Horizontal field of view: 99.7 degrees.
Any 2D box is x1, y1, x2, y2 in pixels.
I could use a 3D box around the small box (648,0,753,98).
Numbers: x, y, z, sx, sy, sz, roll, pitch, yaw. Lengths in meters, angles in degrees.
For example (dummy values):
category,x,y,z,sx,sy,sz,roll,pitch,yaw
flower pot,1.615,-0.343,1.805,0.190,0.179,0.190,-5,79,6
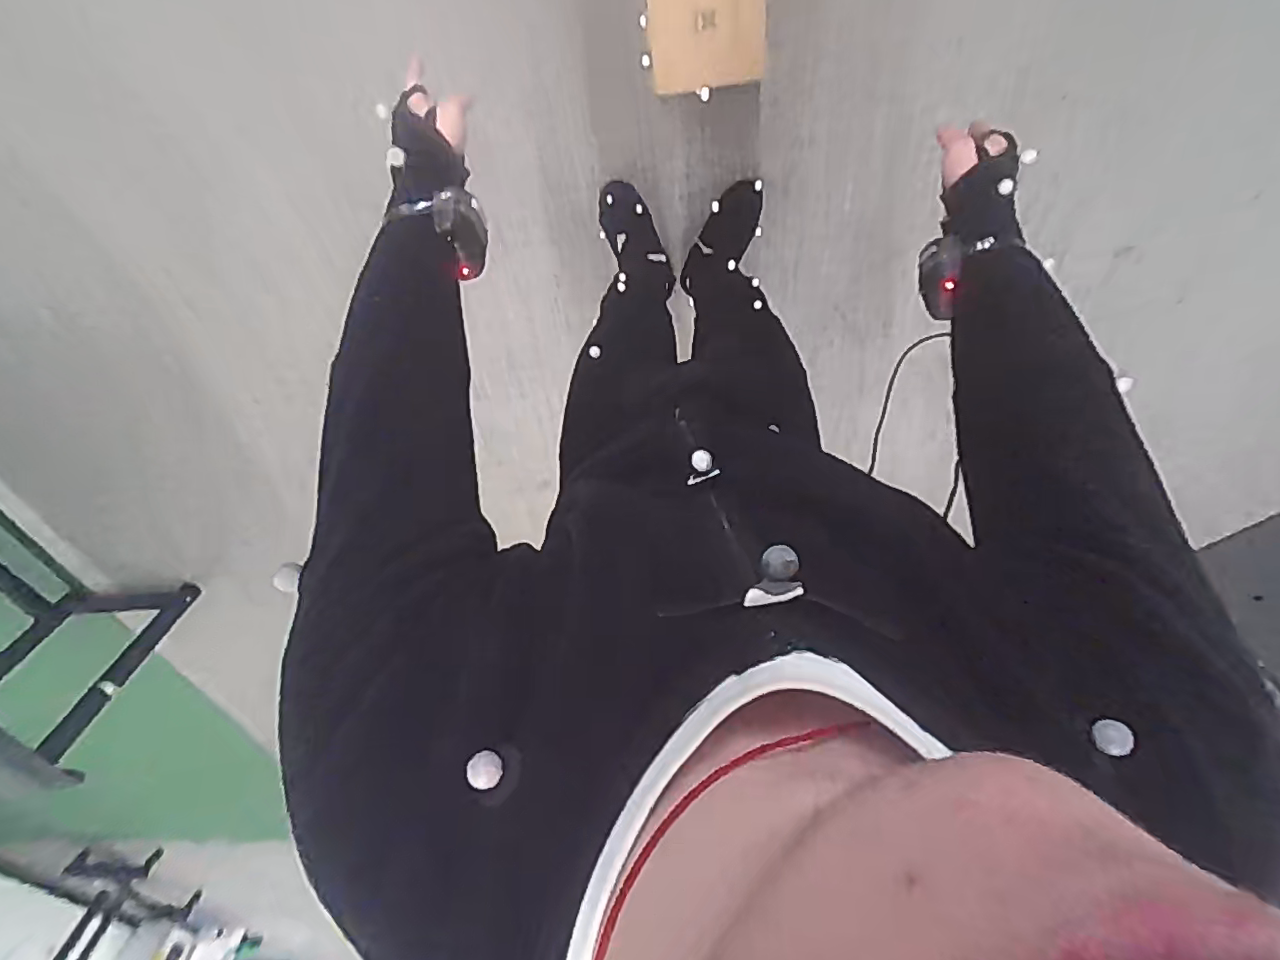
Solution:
category,x,y,z,sx,sy,sz,roll,pitch,yaw
small box,0.109,-0.820,1.000,0.179,0.176,0.168,-4,126,5
